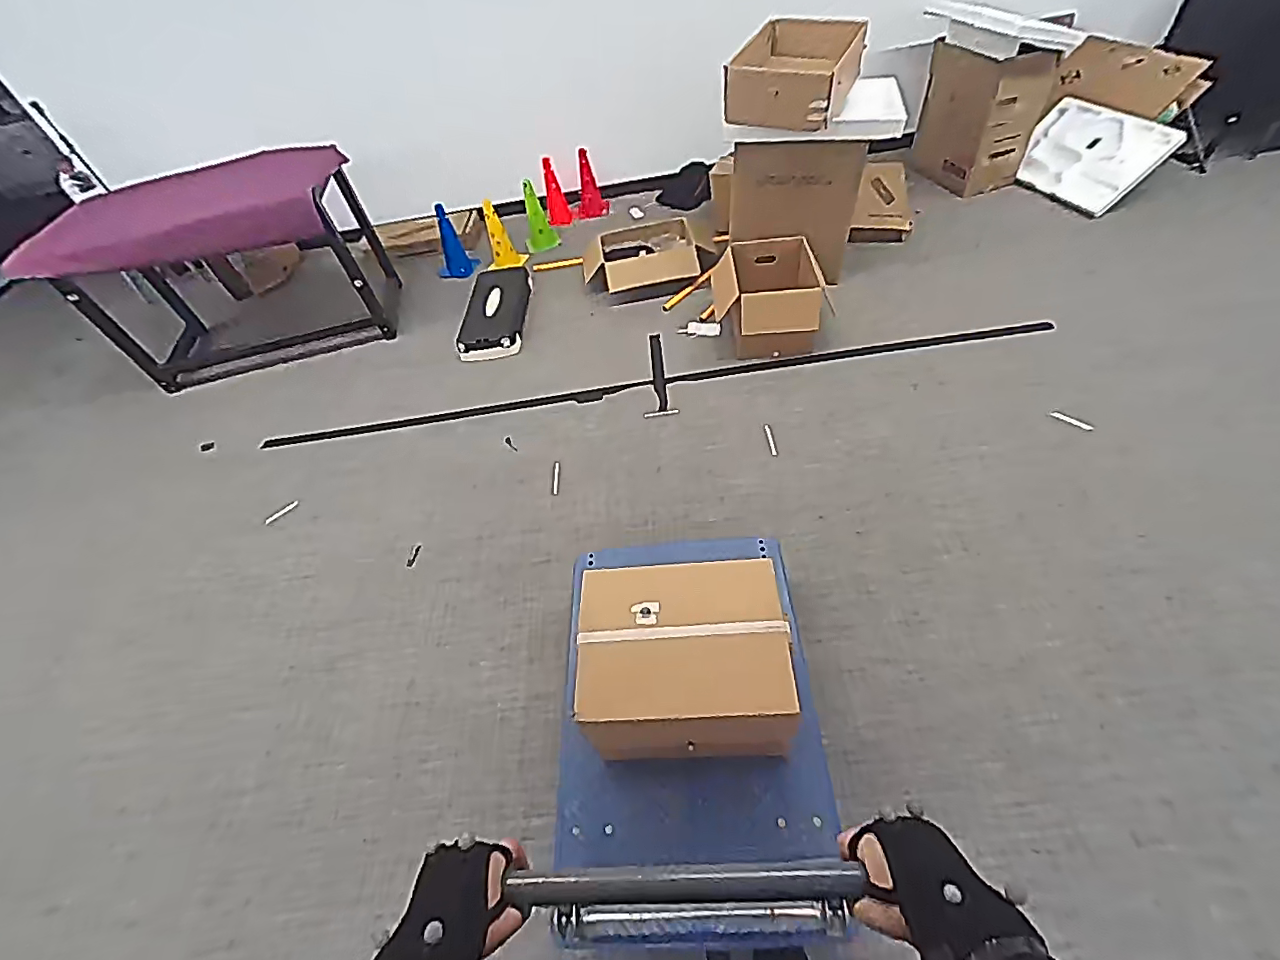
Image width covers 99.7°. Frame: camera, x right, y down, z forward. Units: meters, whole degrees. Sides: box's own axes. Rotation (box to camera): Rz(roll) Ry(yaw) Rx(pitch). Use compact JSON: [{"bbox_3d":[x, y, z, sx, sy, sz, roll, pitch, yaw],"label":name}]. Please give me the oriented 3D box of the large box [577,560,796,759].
[{"bbox_3d":[0.100,0.401,1.180,0.408,0.320,0.320,-6,49,6],"label":"large box"}]
